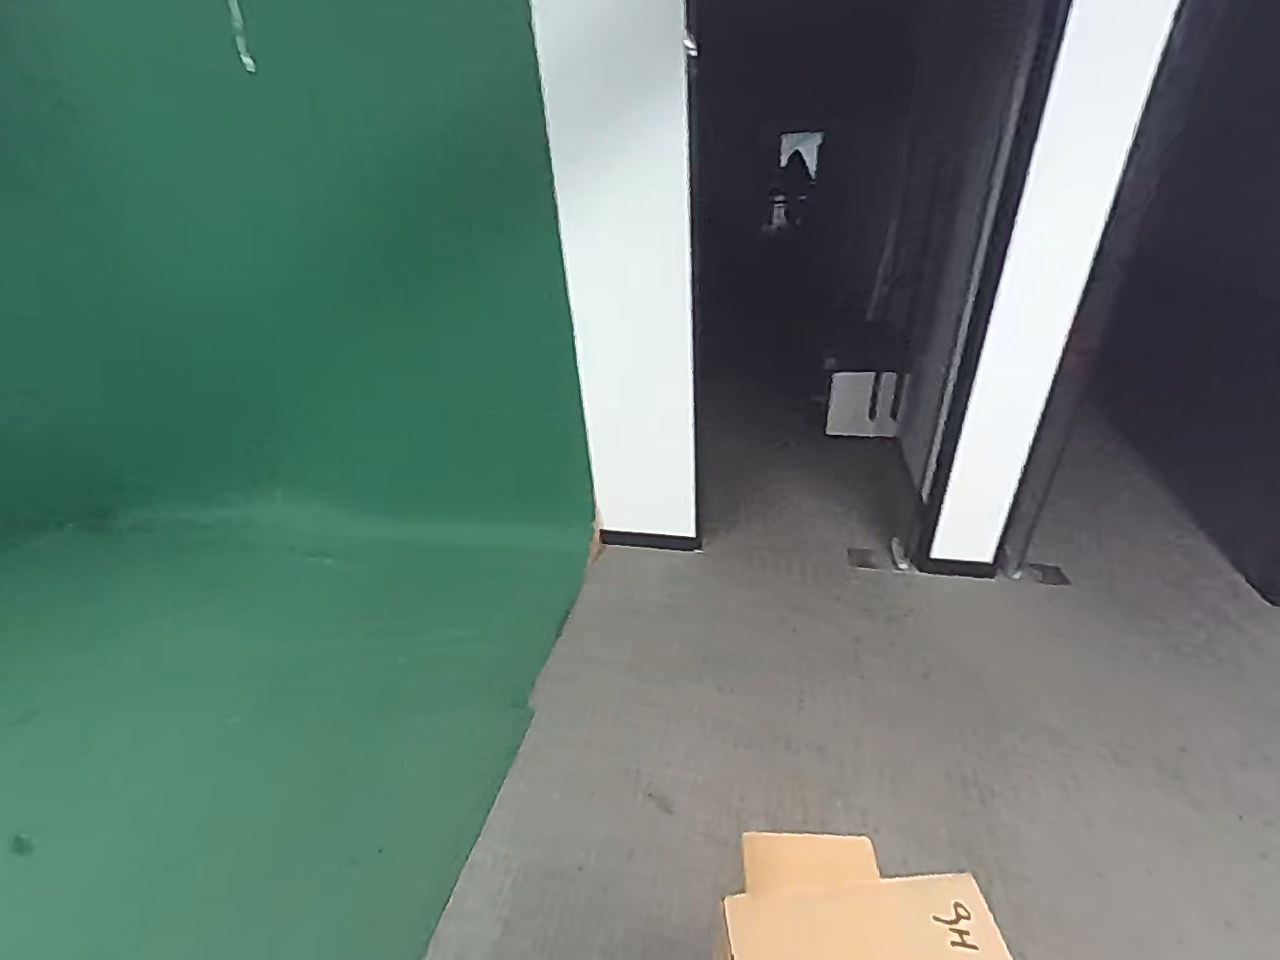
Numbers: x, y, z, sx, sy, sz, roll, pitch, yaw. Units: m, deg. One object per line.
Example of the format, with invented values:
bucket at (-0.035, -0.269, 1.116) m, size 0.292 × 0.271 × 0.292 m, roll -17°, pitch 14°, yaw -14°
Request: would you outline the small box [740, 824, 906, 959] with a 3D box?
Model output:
small box at (0.220, 0.575, 0.685) m, size 0.168 × 0.176 × 0.179 m, roll 0°, pitch 32°, yaw 5°
